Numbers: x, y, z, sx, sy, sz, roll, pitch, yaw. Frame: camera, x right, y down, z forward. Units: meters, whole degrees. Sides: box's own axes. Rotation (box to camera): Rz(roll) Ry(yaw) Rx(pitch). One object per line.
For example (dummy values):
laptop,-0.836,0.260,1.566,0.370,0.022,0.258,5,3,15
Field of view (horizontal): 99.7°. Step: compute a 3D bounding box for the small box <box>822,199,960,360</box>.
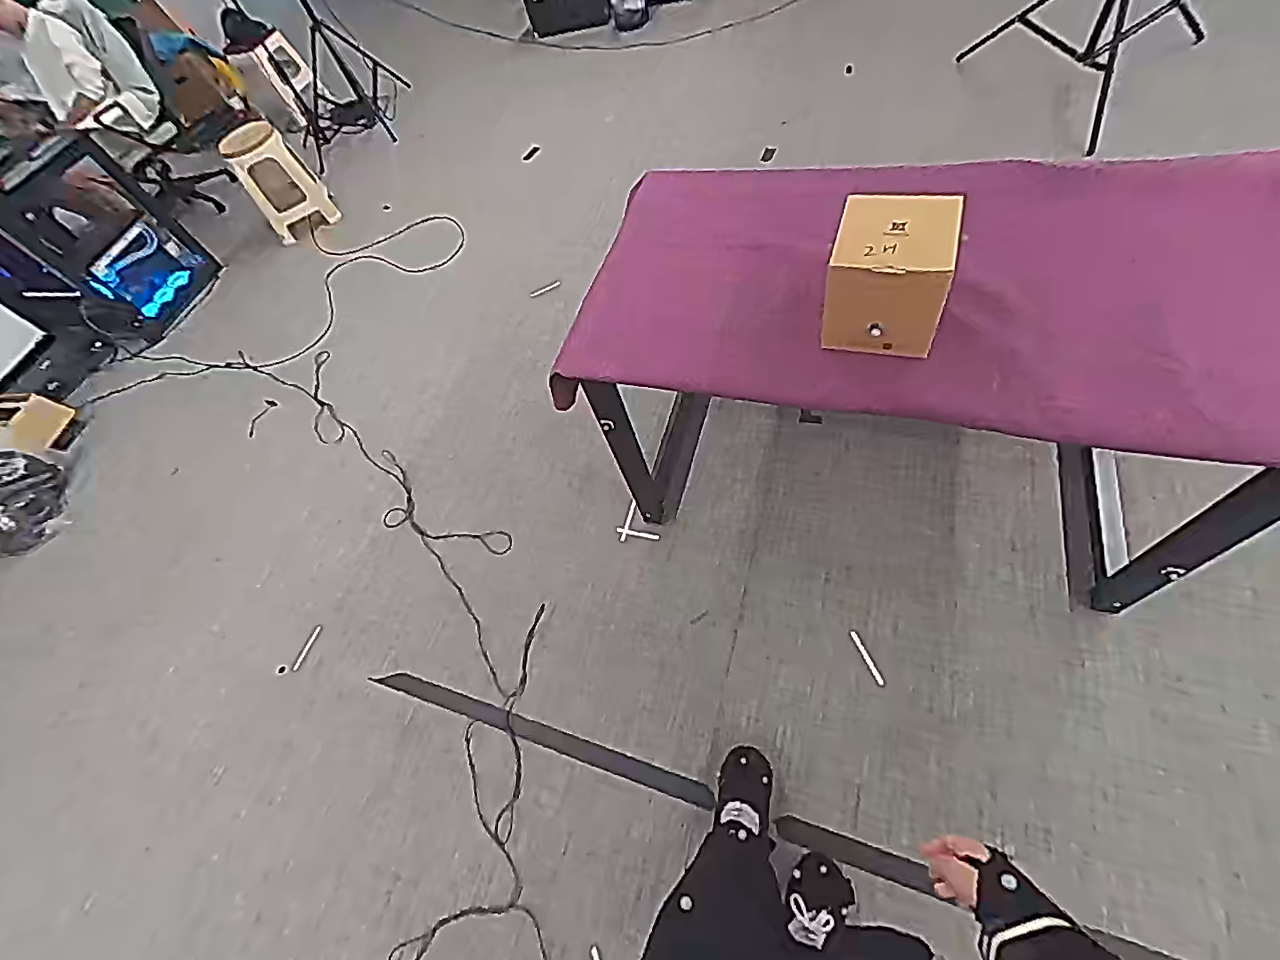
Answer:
small box,0.393,-0.321,0.867,0.168,0.176,0.179,12,62,21
